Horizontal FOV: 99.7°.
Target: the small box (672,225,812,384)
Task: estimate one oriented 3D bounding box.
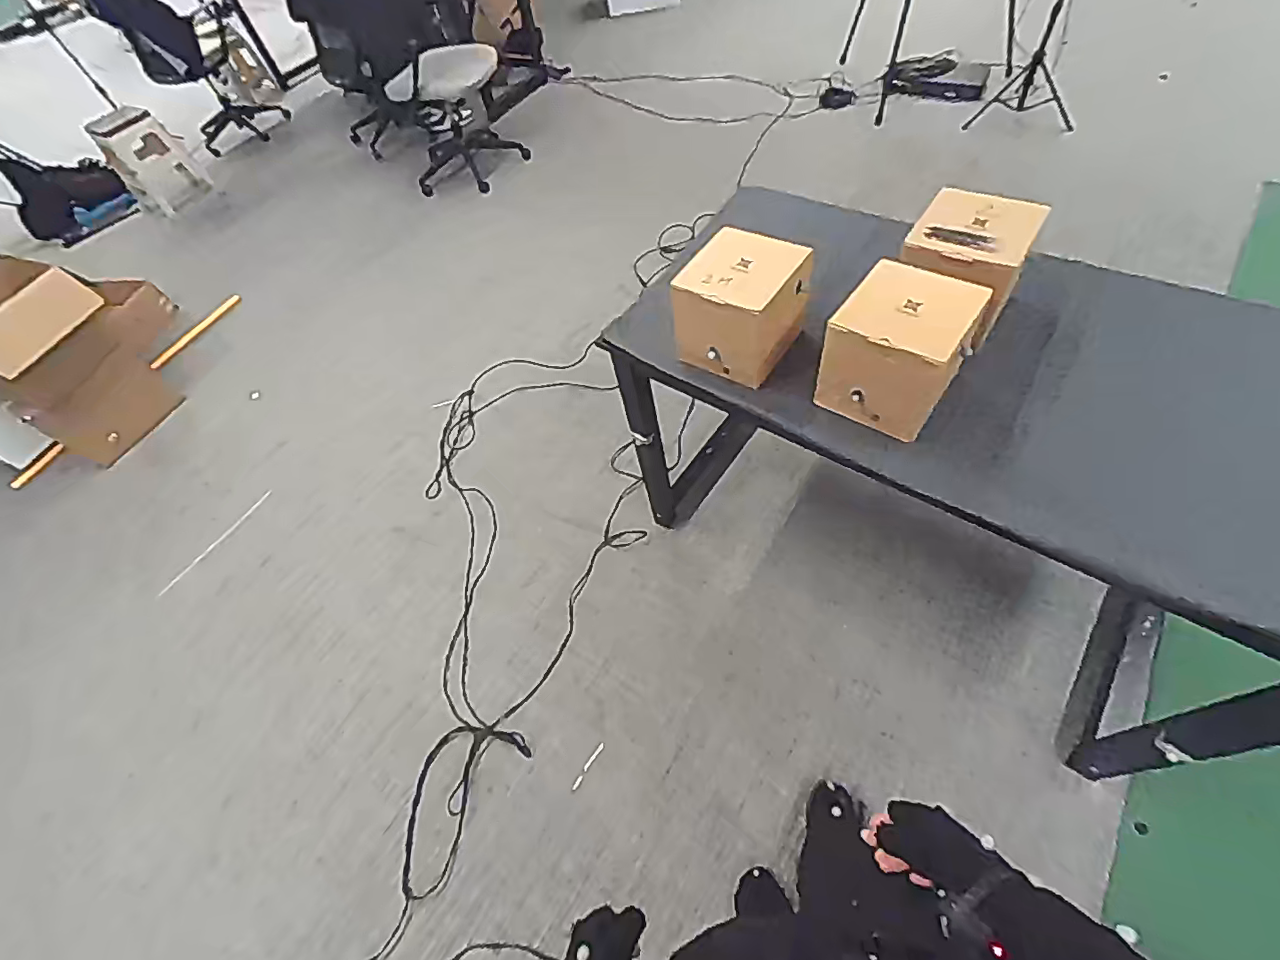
[{"bbox_3d":[0.174,-0.303,0.938,0.168,0.176,0.179,28,66,25],"label":"small box"}]
